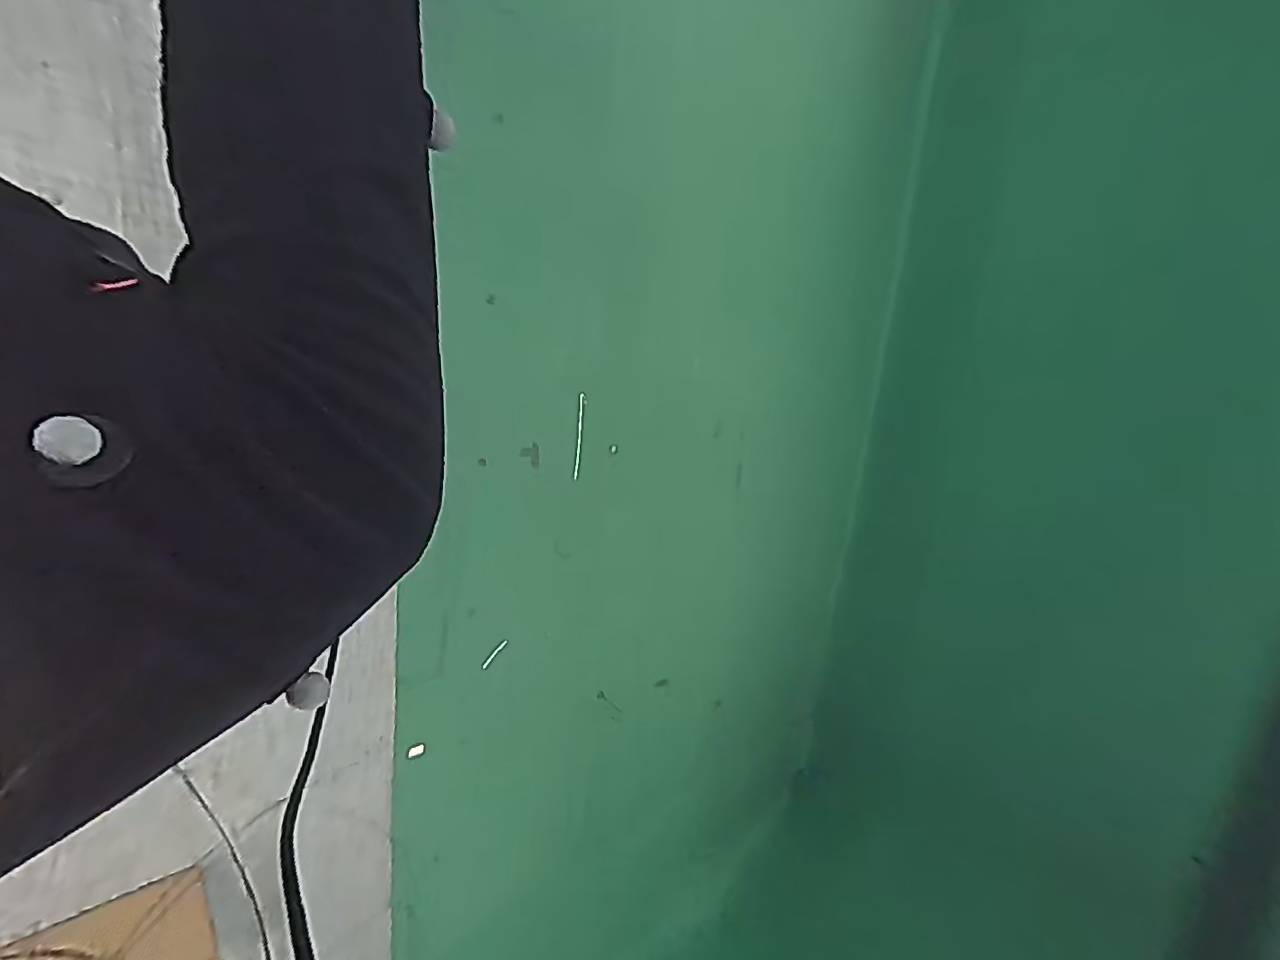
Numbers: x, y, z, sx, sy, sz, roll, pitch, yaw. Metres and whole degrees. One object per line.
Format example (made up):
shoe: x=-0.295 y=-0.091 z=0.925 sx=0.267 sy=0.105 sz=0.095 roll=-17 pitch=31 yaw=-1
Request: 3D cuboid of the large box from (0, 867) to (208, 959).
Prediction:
large box: x=-1.198 y=1.159 z=1.150 sx=0.408 sy=0.320 sz=0.320 roll=-5 pitch=105 yaw=-48
